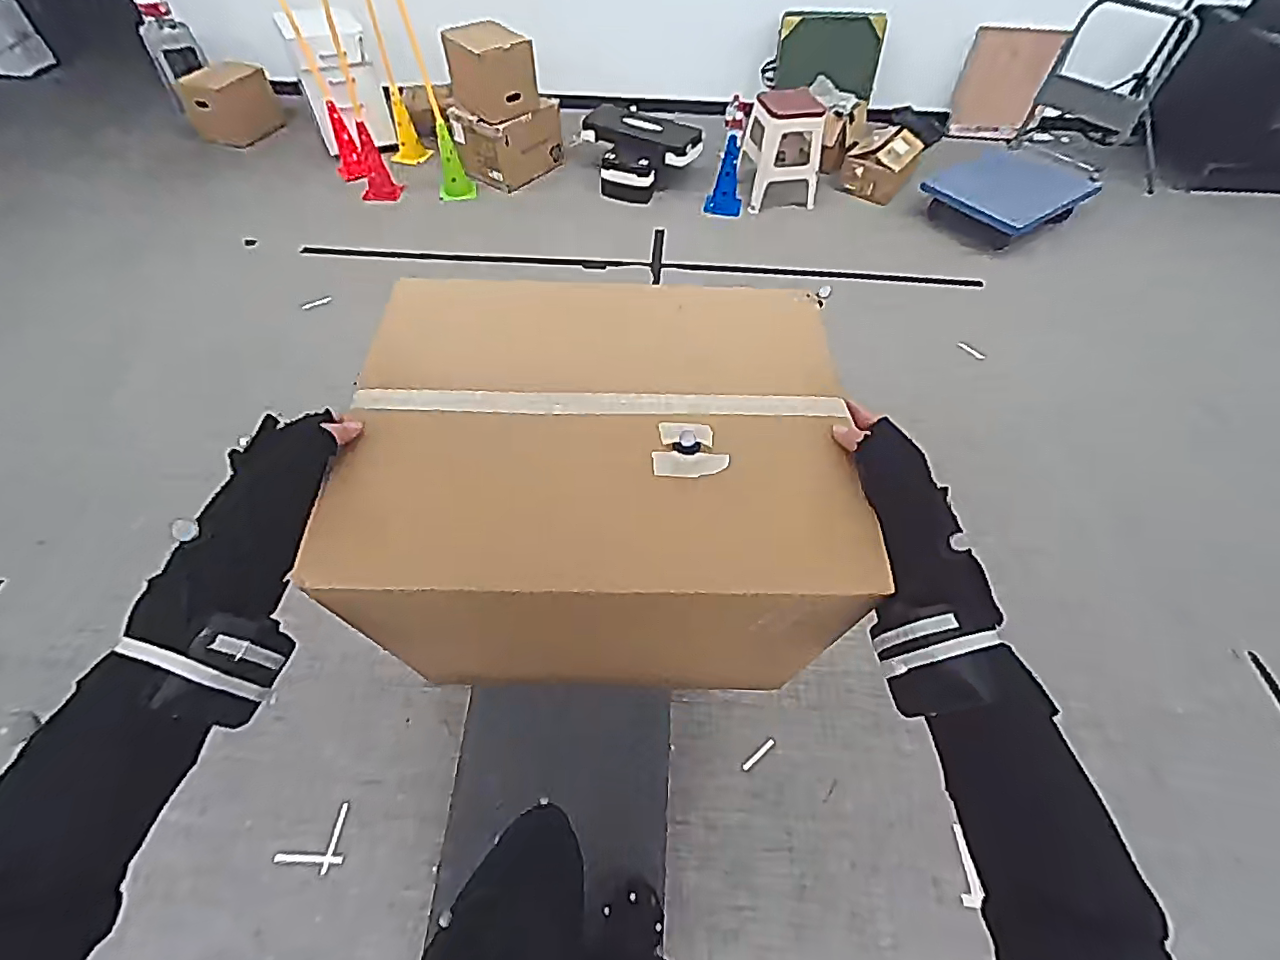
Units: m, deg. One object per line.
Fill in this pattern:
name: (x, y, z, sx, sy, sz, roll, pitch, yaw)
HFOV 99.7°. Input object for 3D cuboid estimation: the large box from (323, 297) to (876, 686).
large box: (-0.034, 0.029, 0.587, 0.408, 0.320, 0.320, 1, 58, -2)
